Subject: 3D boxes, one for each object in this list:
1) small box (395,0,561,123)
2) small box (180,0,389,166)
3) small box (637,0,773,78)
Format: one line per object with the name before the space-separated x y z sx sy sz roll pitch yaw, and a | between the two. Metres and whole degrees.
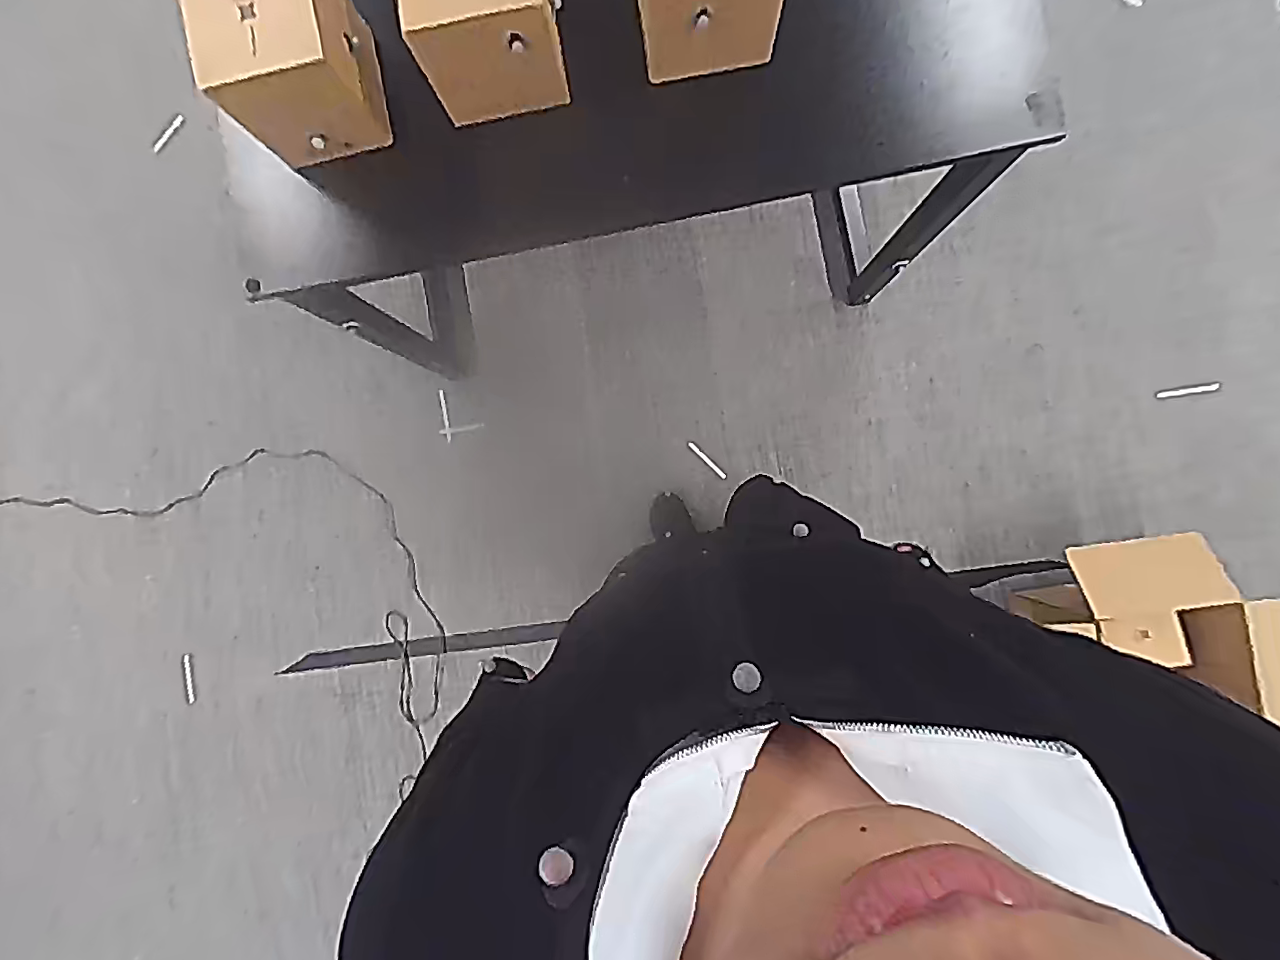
small box | -0.209 -0.621 0.721 0.179 0.176 0.168 -10 88 3
small box | -0.471 -0.573 0.736 0.168 0.176 0.179 -12 89 3
small box | 0.079 -0.672 0.707 0.179 0.176 0.168 -8 89 4
